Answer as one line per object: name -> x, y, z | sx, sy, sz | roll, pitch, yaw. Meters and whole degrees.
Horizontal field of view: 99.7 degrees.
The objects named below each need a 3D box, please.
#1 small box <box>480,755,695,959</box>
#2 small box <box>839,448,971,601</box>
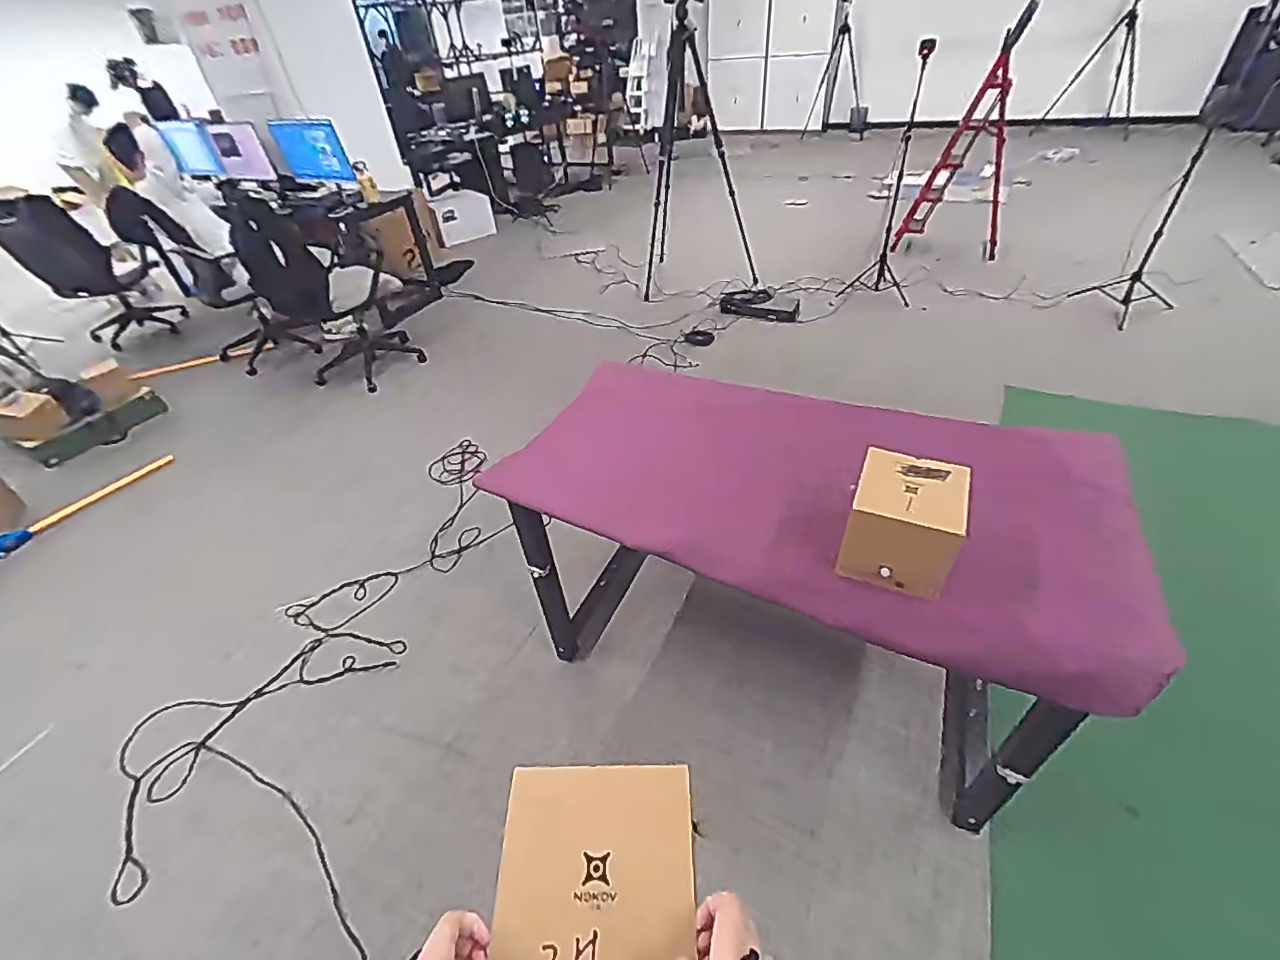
small box -> -0.034, 0.373, 0.504 | 0.168, 0.176, 0.179 | -3, 50, 4
small box -> 0.453, 0.074, 0.935 | 0.168, 0.176, 0.179 | 14, 44, 23
